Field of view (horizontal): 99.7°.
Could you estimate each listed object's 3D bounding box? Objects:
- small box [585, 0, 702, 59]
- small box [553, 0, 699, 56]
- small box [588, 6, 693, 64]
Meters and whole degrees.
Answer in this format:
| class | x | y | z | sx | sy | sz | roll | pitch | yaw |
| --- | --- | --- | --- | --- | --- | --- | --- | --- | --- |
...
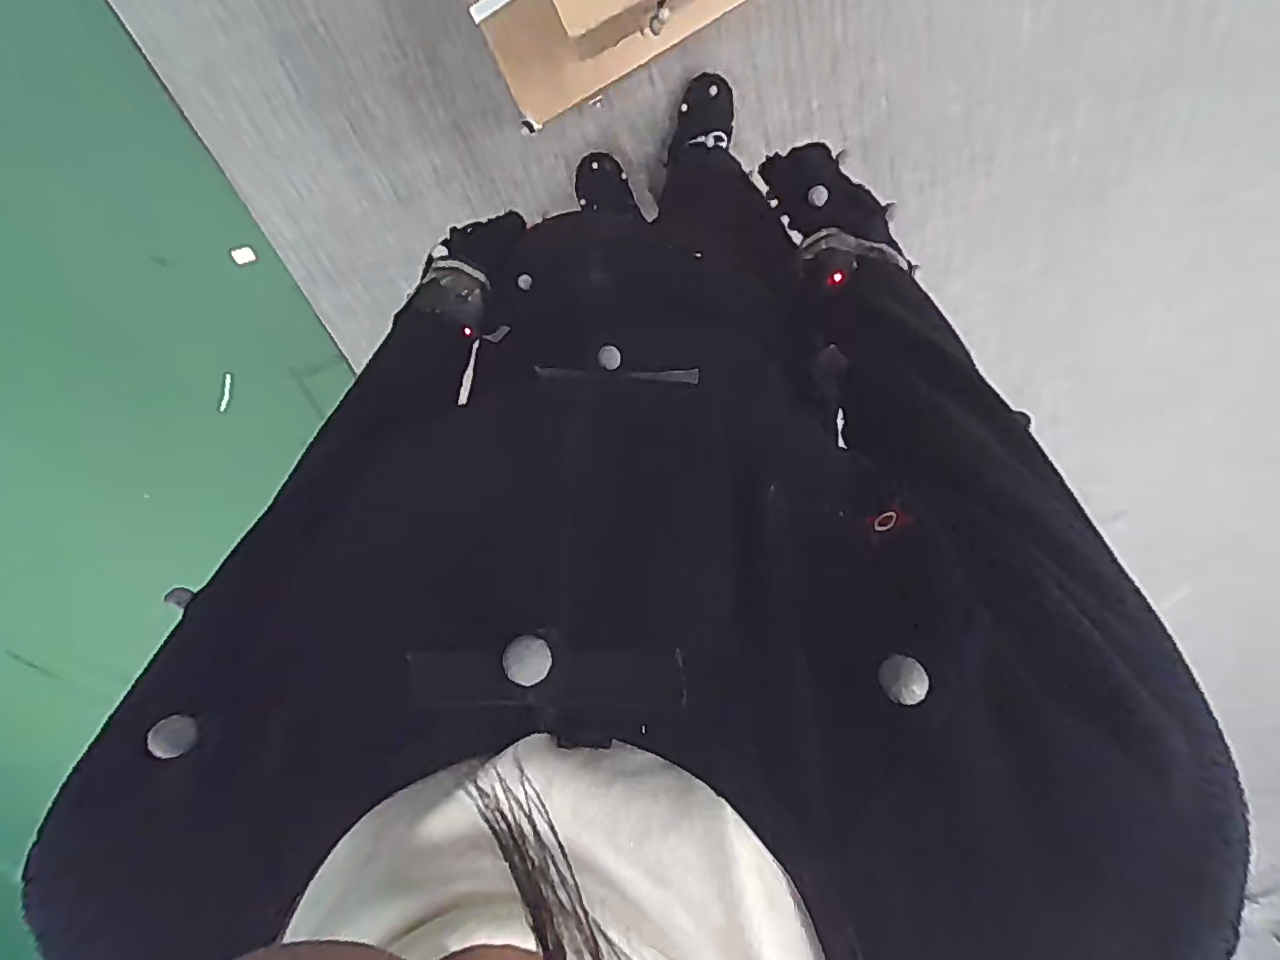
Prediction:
| class | x | y | z | sx | sy | sz | roll | pitch | yaw |
| --- | --- | --- | --- | --- | --- | --- | --- | --- | --- |
| small box | -0.019 | -0.571 | 0.555 | 0.168 | 0.176 | 0.179 | -22 | 124 | 12 |
| small box | -0.007 | -0.470 | 0.424 | 0.179 | 0.176 | 0.168 | -20 | 123 | 12 |
| small box | -0.025 | -0.665 | 0.688 | 0.179 | 0.176 | 0.168 | -22 | 123 | 11 |
